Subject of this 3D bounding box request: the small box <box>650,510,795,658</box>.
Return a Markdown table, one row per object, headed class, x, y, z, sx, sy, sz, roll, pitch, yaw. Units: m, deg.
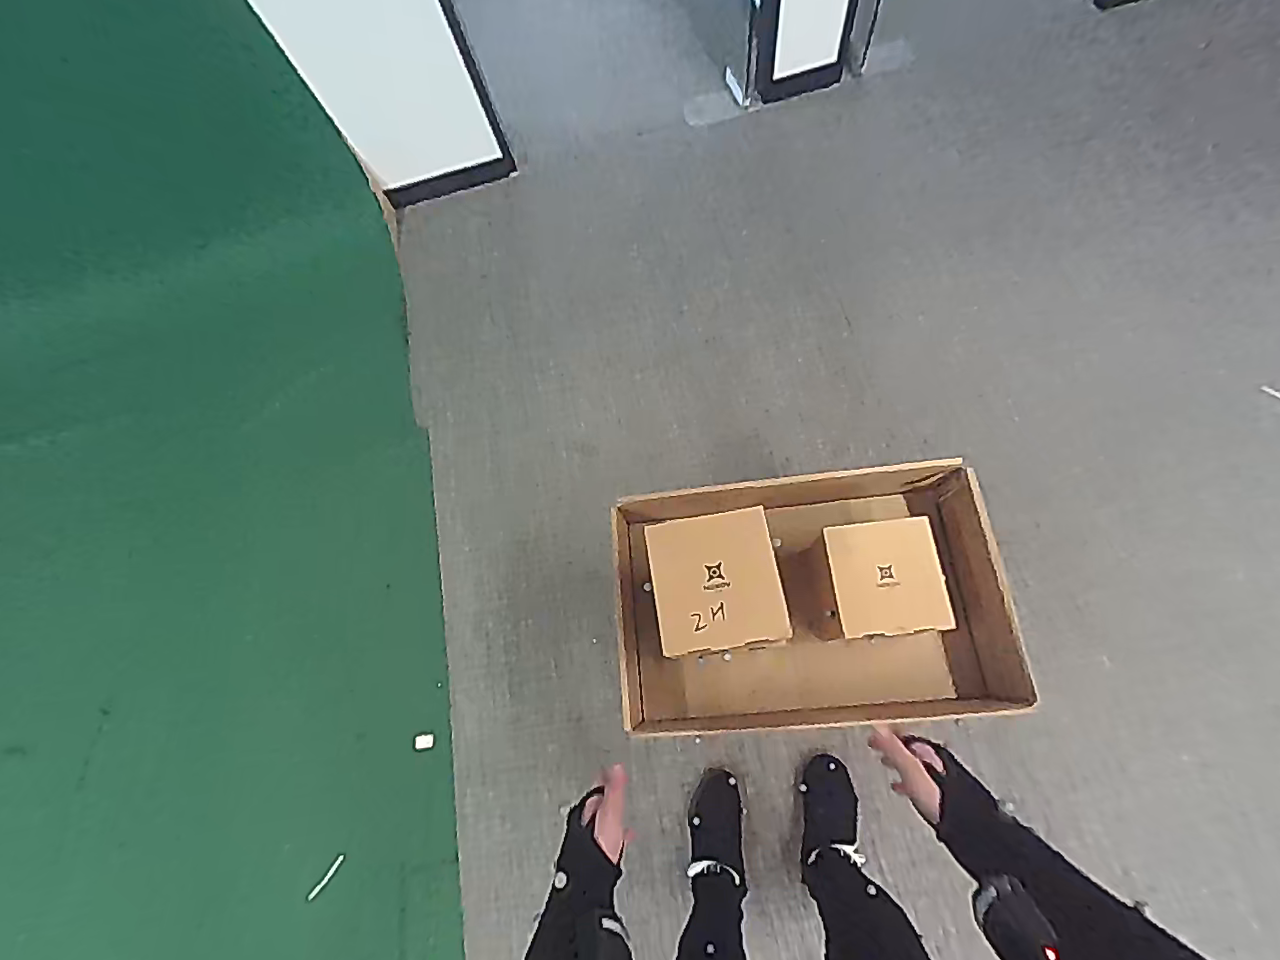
| class | x | y | z | sx | sy | sz | roll | pitch | yaw |
| --- | --- | --- | --- | --- | --- | --- | --- | --- | --- |
| small box | 0.111 | 0.156 | 0.775 | 0.168 | 0.176 | 0.179 | -9 | 72 | 4 |
